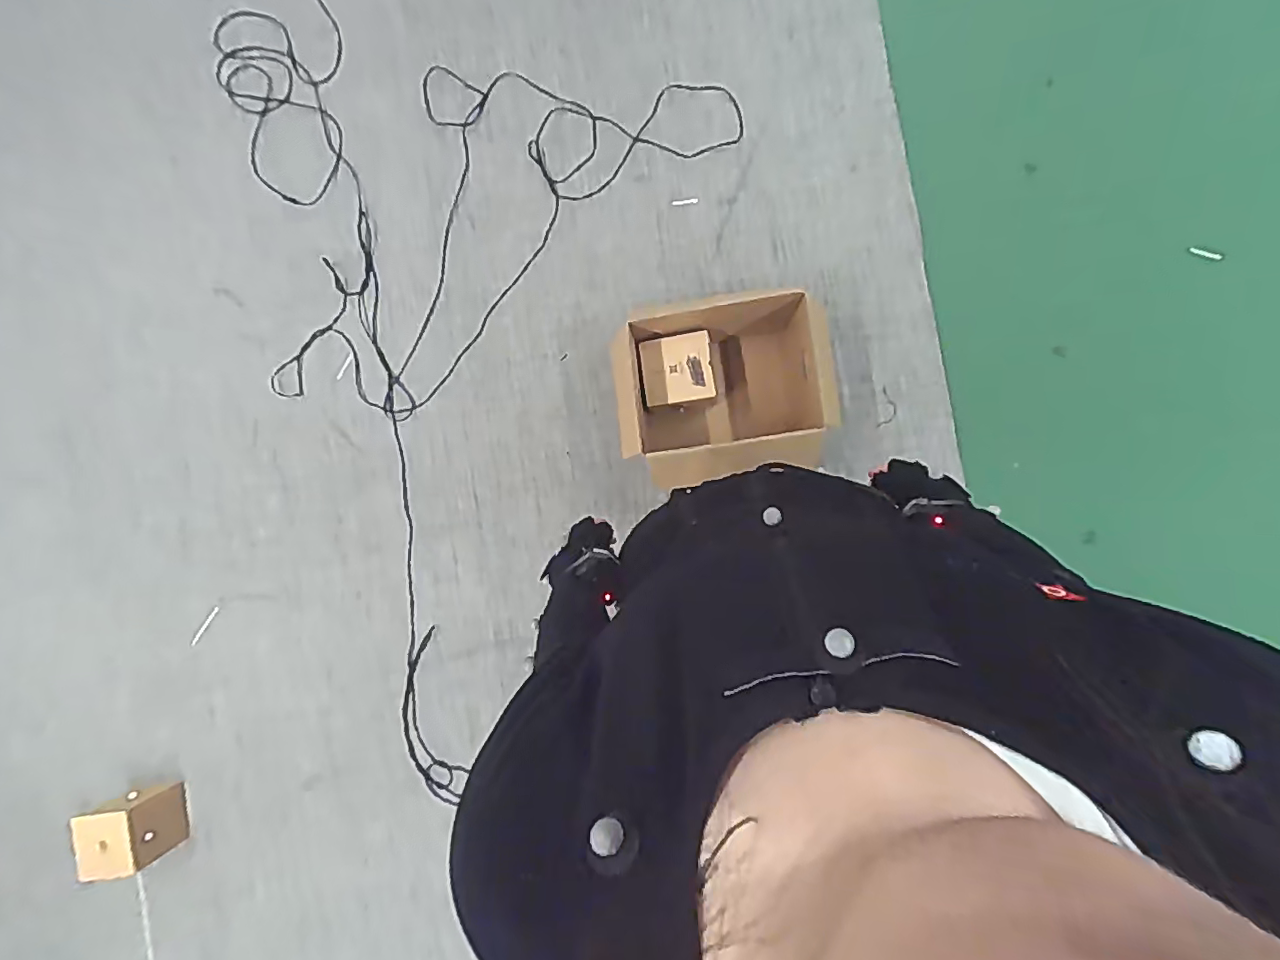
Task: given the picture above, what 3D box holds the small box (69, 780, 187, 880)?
[{"bbox_3d":[-1.432,0.972,1.521,0.168,0.176,0.179,-10,89,4],"label":"small box"}]
